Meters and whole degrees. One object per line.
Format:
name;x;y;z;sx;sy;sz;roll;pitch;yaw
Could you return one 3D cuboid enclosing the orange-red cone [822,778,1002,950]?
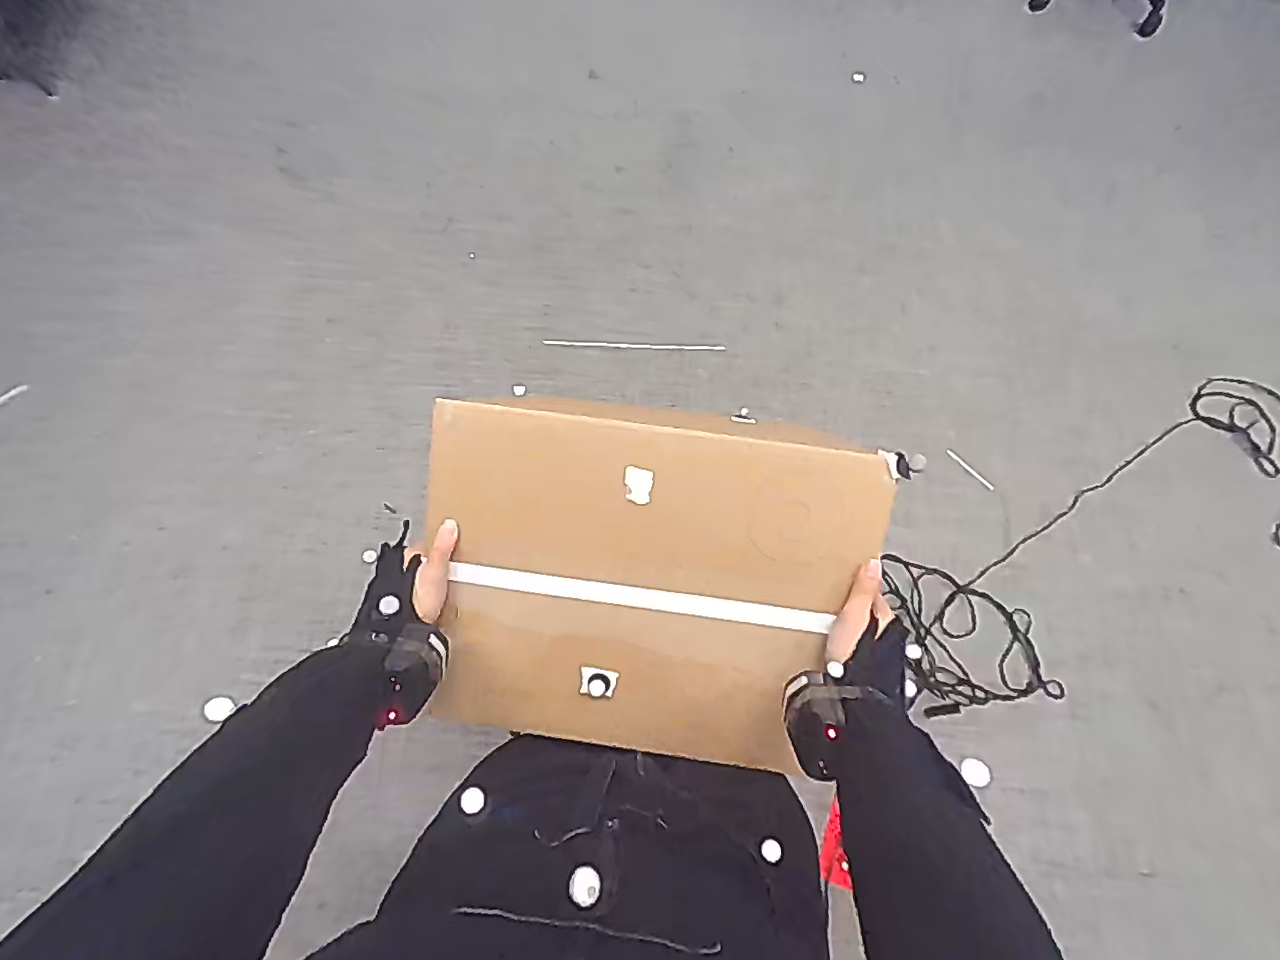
orange-red cone;0.489;0.687;0.929;0.199;0.360;0.198;22;75;4
